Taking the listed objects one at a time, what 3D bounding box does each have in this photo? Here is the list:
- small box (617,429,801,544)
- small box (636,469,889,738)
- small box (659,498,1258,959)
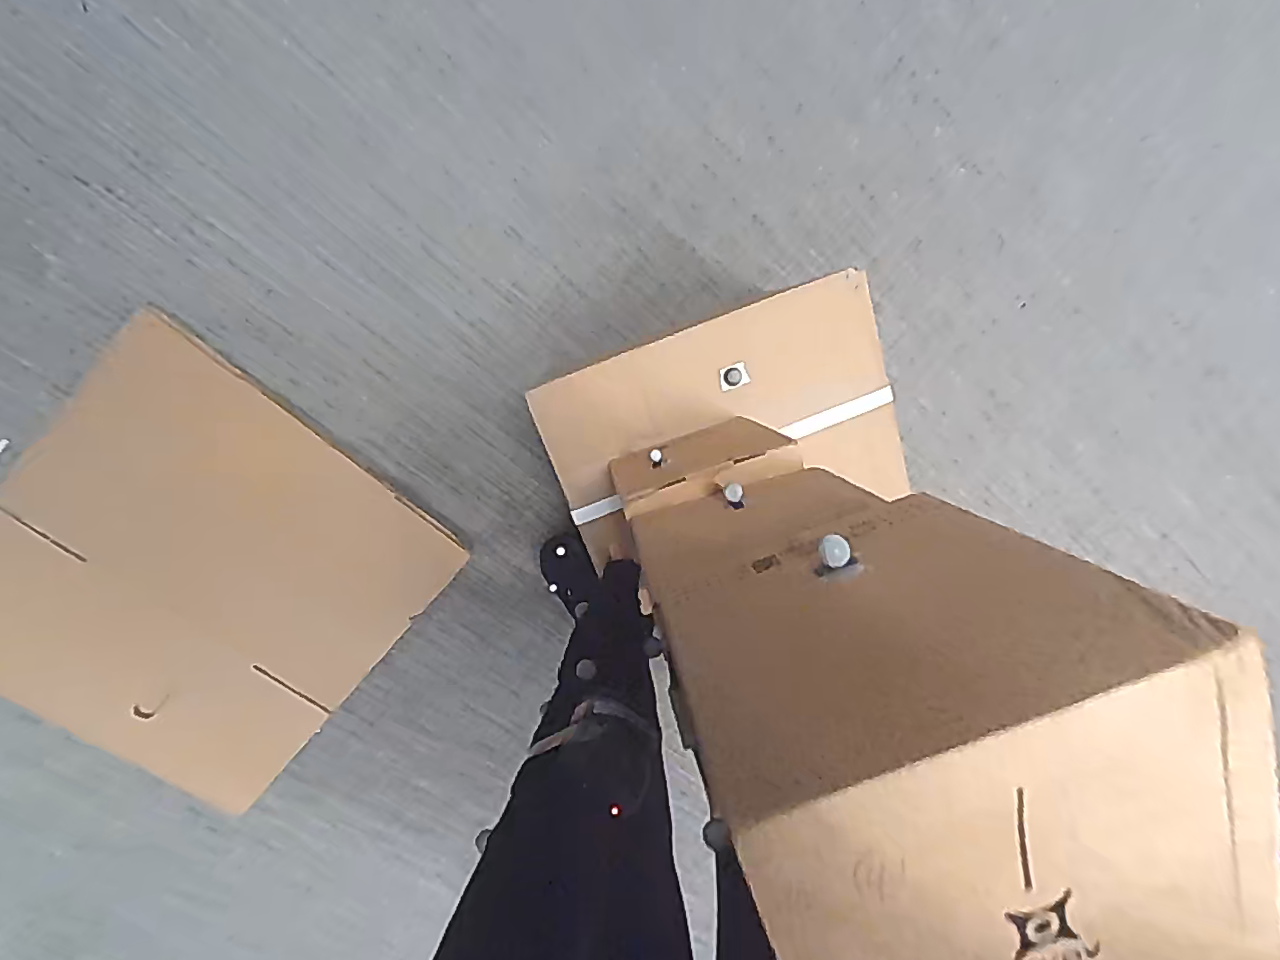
[{"bbox_3d":[0.079,0.053,0.576,0.168,0.176,0.179,-19,106,0],"label":"small box"},{"bbox_3d":[0.100,0.103,0.422,0.179,0.176,0.168,-19,102,-1],"label":"small box"},{"bbox_3d":[0.117,0.129,0.258,0.168,0.176,0.179,-20,103,0],"label":"small box"}]
